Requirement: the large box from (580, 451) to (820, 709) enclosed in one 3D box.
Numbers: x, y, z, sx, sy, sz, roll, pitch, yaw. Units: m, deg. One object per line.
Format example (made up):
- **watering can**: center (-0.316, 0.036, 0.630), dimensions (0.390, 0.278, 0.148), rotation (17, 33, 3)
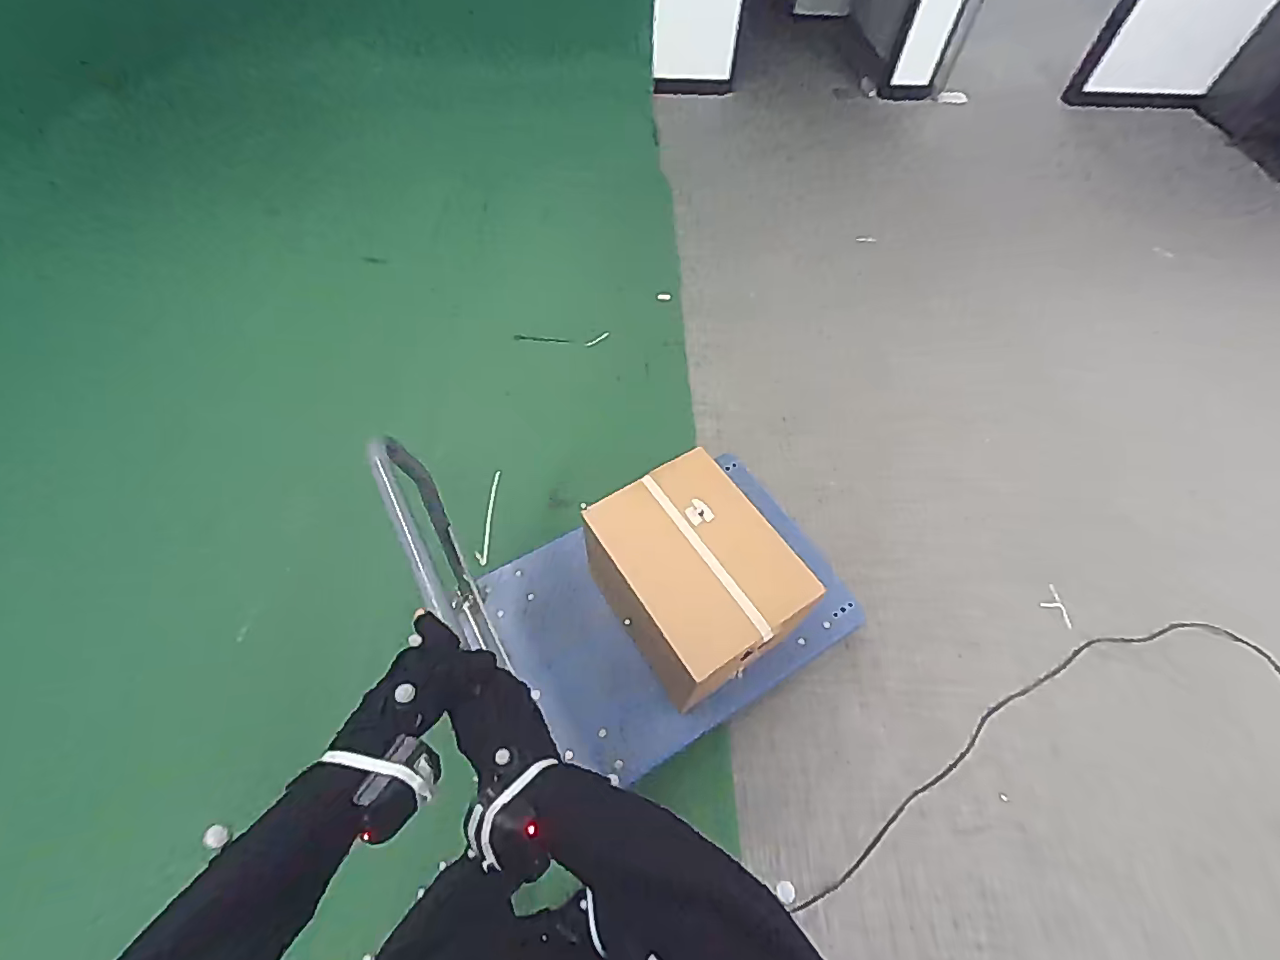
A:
- **large box**: center (0.110, 0.221, 1.195), dimensions (0.320, 0.320, 0.408), rotation (-28, 62, -20)
